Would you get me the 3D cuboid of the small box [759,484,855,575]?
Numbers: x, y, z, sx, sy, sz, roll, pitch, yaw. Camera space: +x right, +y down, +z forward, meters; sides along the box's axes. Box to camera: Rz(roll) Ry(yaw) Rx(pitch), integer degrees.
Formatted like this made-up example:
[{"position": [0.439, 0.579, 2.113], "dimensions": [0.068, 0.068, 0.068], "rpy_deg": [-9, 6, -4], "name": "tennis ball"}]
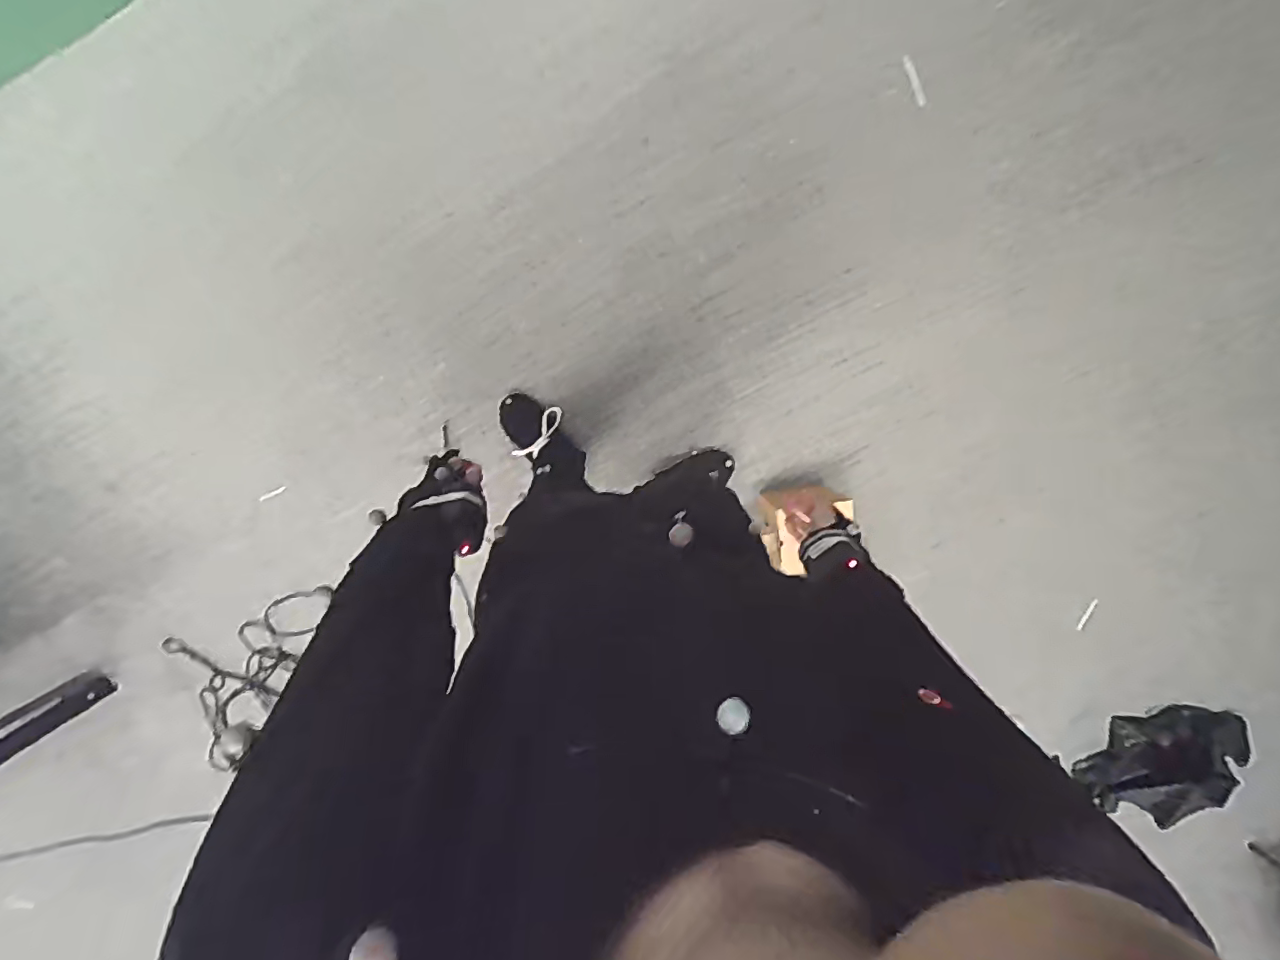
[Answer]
[{"position": [0.398, 0.112, 1.301], "dimensions": [0.179, 0.176, 0.168], "rpy_deg": [-7, 103, 1], "name": "small box"}]
